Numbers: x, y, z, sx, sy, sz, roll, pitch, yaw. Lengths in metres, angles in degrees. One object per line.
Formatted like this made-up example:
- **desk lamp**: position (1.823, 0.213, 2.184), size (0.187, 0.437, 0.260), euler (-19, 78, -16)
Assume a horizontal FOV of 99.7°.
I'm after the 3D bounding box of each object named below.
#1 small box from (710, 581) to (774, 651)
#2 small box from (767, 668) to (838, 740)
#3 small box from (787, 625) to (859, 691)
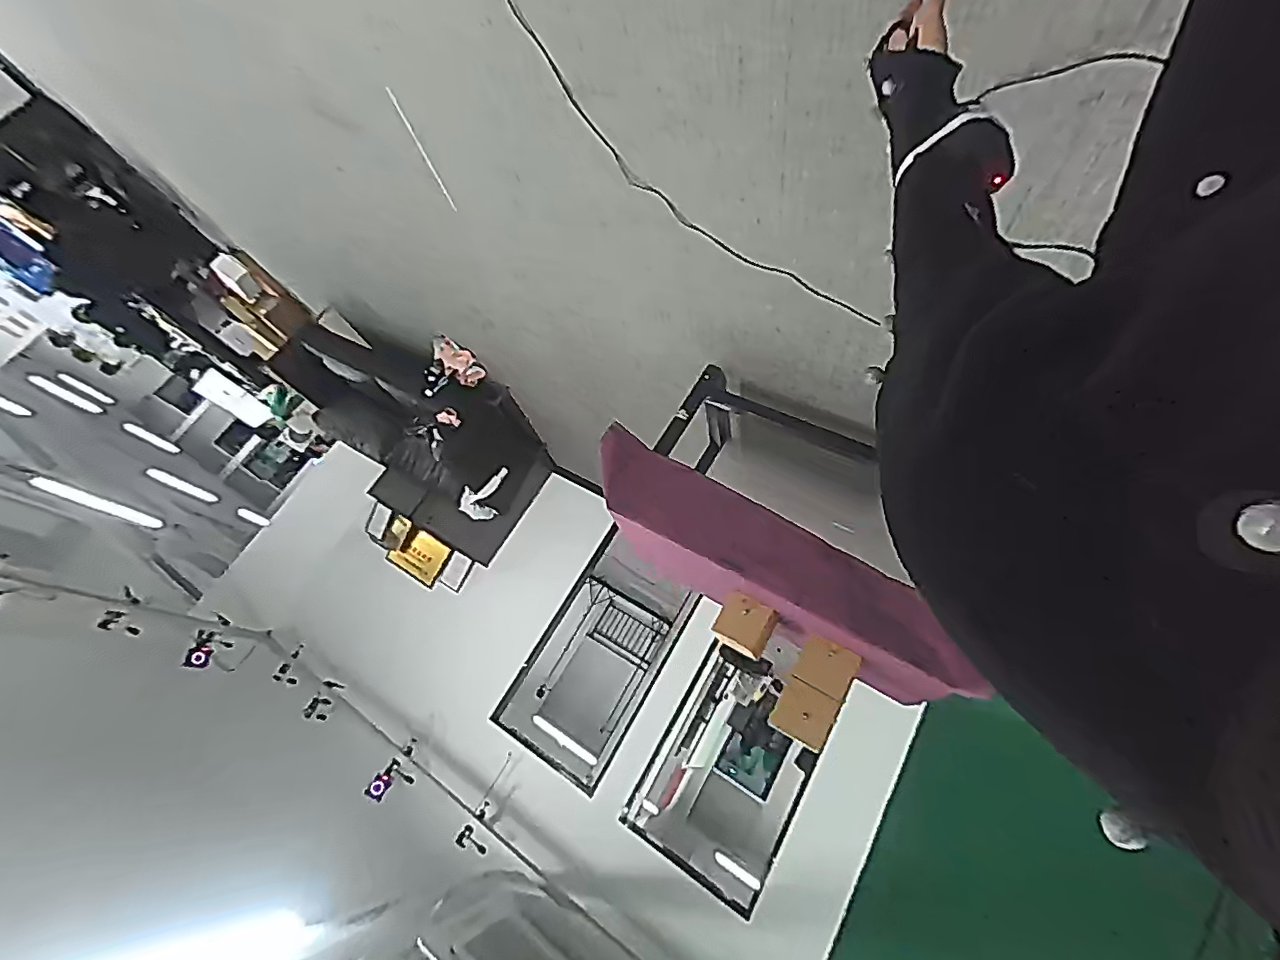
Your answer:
- **small box**: position (0.383, 0.500, 1.993), size (0.168, 0.176, 0.179), euler (23, 161, 28)
- **small box**: position (0.545, 0.750, 1.828), size (0.179, 0.176, 0.168), euler (24, 162, 23)
- **small box**: position (0.630, 0.617, 1.873), size (0.179, 0.176, 0.168), euler (25, 163, 24)
